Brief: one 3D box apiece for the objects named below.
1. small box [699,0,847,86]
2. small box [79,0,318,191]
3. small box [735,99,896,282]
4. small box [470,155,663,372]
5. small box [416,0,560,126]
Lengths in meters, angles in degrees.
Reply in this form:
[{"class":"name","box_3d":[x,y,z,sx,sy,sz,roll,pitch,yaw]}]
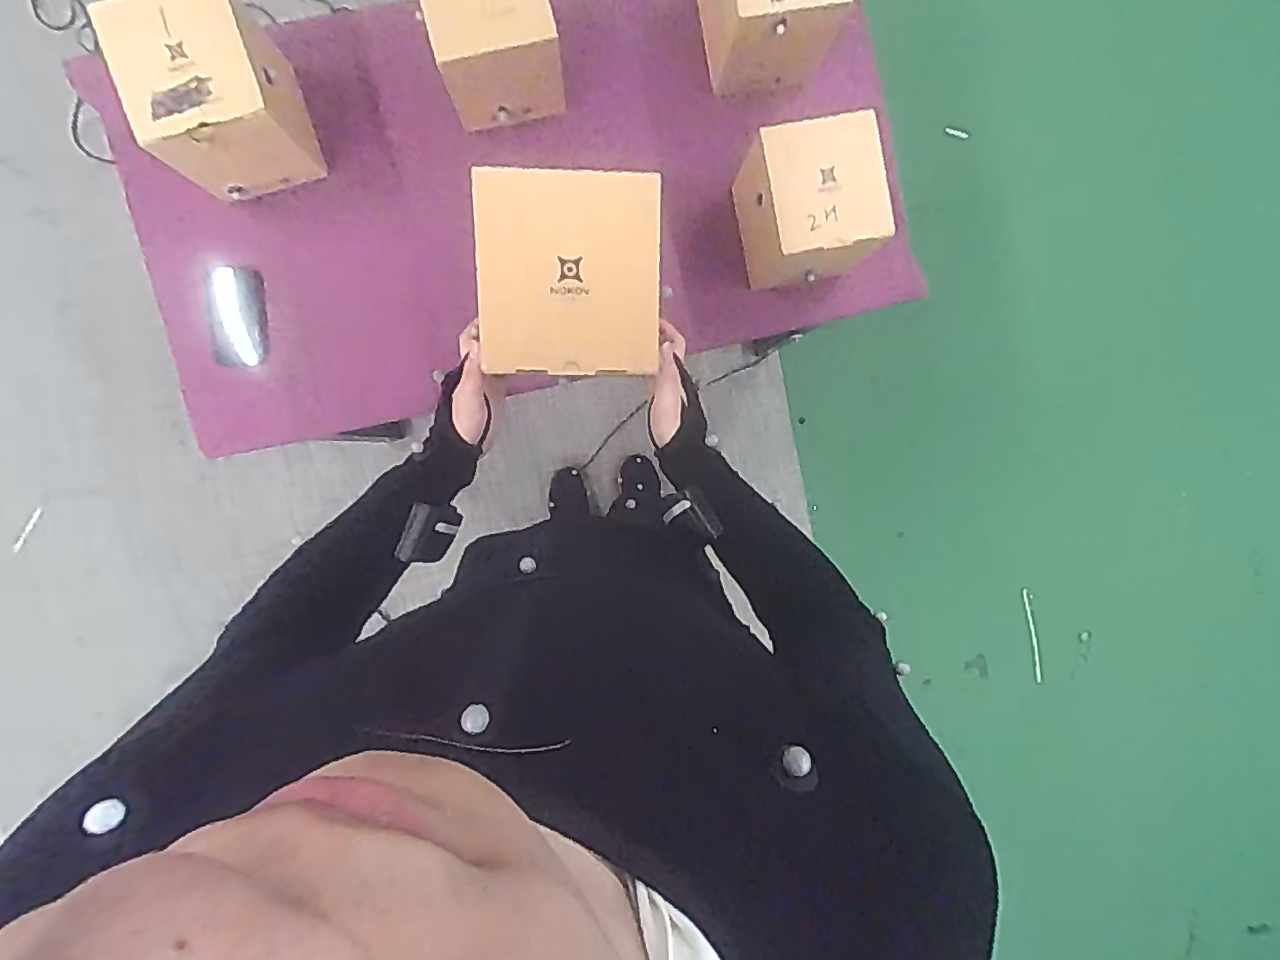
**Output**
[{"class":"small box","box_3d":[0.186,-0.730,0.791,0.168,0.176,0.179,-11,94,-3]},{"class":"small box","box_3d":[-0.585,-0.528,0.745,0.168,0.176,0.179,-18,93,-4]},{"class":"small box","box_3d":[0.251,-0.419,0.809,0.168,0.176,0.179,-11,94,-2]},{"class":"small box","box_3d":[-0.071,-0.201,0.549,0.168,0.176,0.179,-1,103,-5]},{"class":"small box","box_3d":[-0.217,-0.652,0.767,0.168,0.176,0.179,-15,95,-2]}]
